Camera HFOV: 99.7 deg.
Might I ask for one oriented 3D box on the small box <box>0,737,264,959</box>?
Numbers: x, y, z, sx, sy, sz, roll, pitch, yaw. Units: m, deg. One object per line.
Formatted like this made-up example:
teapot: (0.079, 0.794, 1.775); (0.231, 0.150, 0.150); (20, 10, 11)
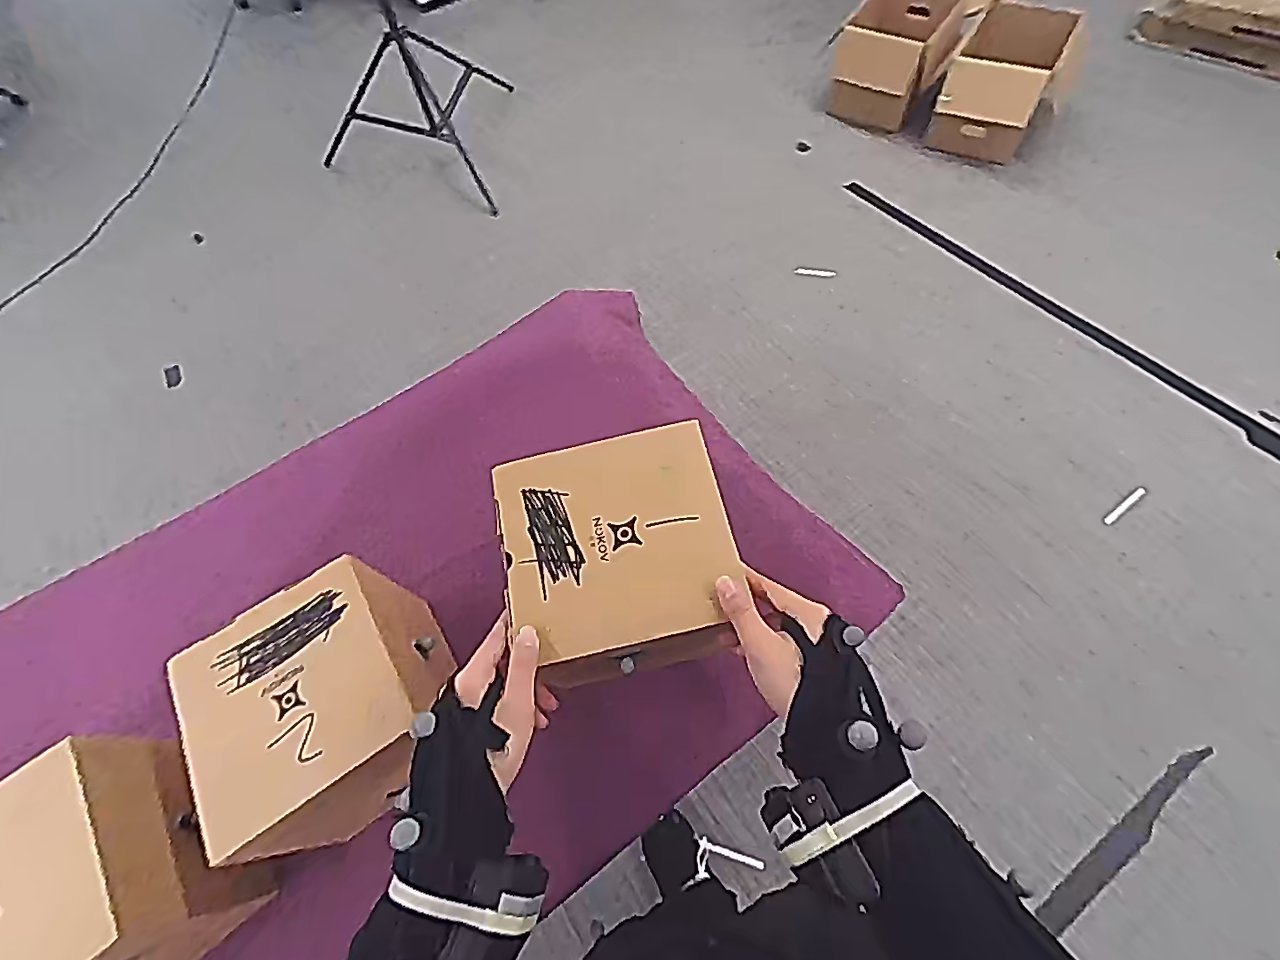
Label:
small box: (-0.461, 0.346, 0.454); (0.179, 0.176, 0.168); (-38, 64, -14)
